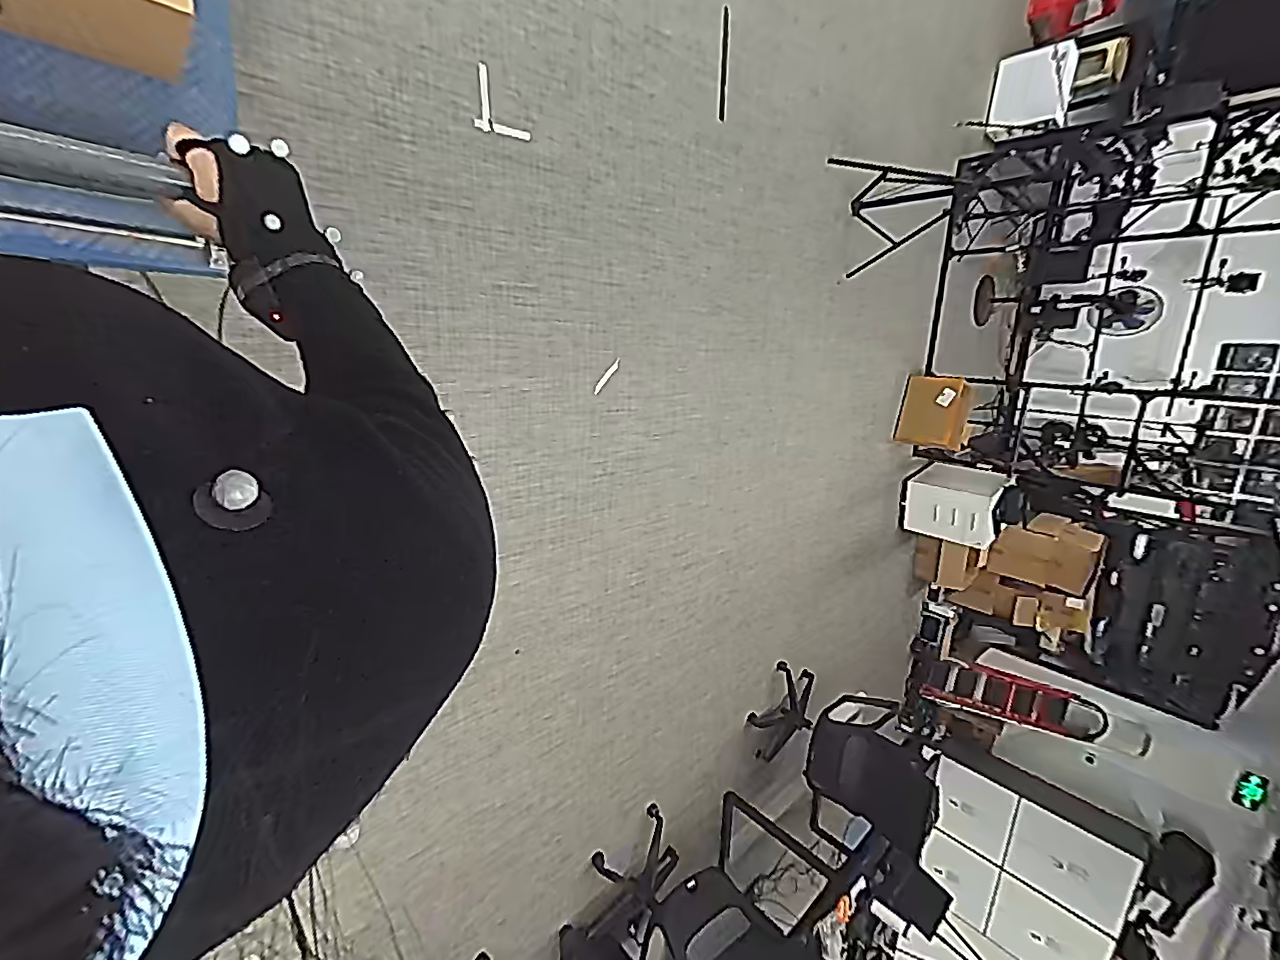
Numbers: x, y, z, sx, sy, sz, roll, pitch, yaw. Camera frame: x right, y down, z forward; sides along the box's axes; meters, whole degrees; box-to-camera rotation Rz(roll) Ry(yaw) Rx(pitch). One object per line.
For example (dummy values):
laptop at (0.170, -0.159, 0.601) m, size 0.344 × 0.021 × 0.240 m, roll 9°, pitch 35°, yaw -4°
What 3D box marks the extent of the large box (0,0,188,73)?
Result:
large box at (-0.849, -0.797, 0.674) m, size 0.408 × 0.320 × 0.320 m, roll -7°, pitch 106°, yaw -42°
